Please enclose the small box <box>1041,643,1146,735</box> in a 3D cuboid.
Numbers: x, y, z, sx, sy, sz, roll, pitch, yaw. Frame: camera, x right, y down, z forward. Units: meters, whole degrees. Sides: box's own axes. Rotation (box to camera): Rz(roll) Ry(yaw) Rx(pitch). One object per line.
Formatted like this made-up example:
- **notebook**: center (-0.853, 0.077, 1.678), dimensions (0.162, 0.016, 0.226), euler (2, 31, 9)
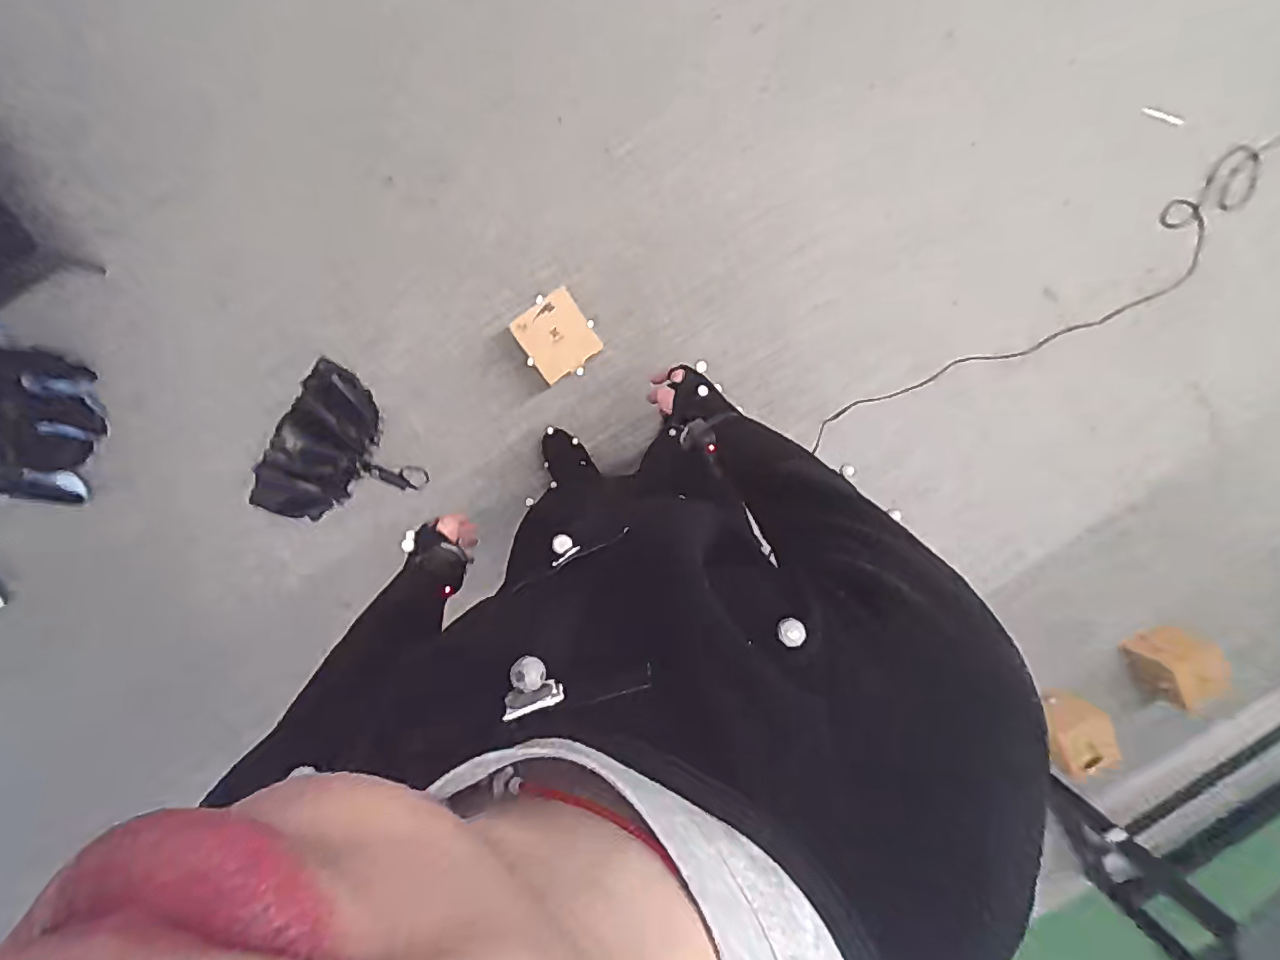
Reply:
- **small box**: center (1.421, 0.652, 1.704), dimensions (0.168, 0.176, 0.179), euler (-27, 102, 3)
